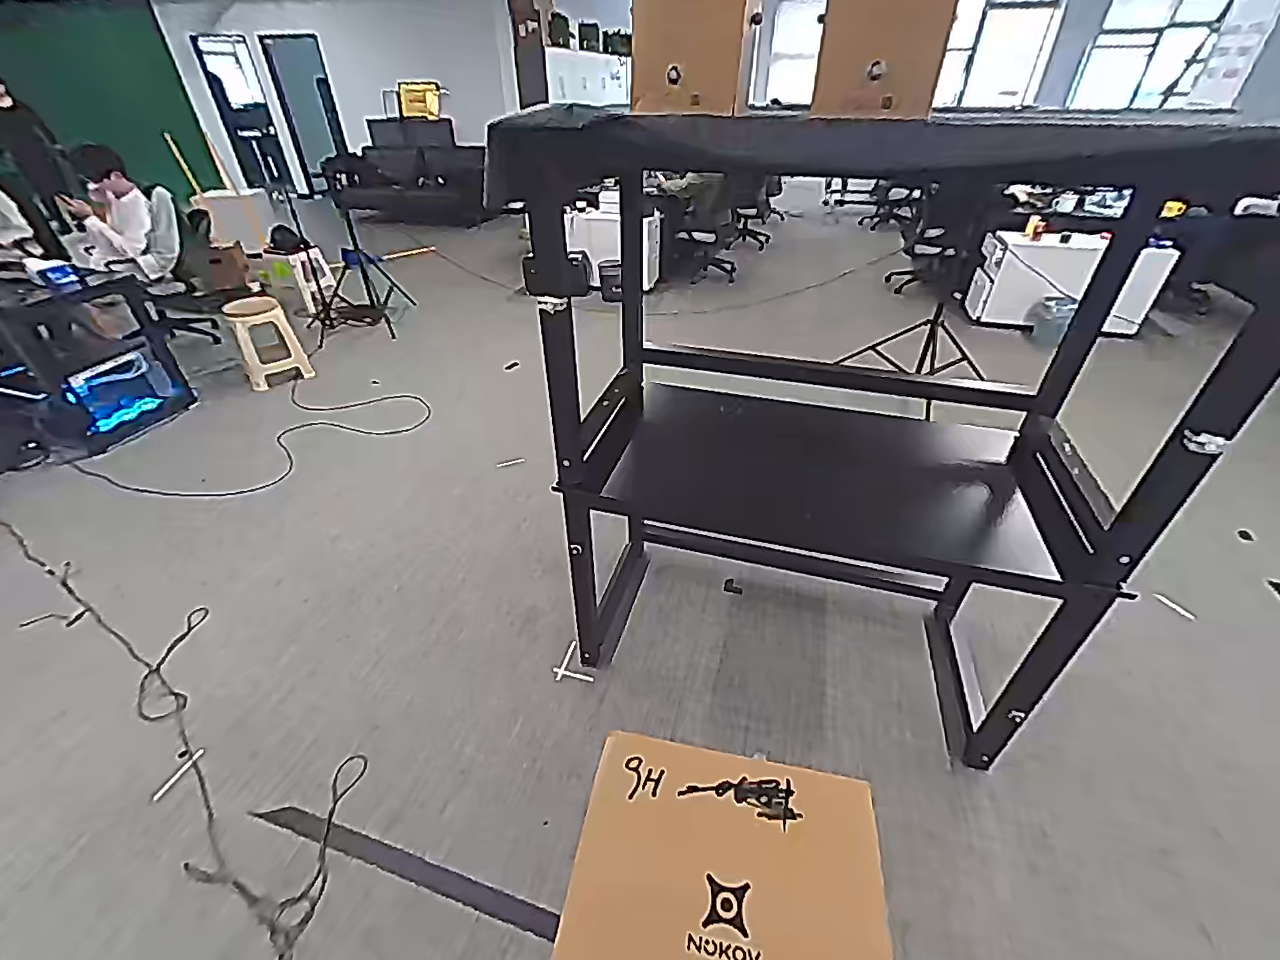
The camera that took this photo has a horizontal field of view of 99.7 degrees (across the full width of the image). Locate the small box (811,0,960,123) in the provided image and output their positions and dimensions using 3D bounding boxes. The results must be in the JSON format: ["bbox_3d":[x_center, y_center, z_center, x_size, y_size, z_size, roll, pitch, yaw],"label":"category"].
[{"bbox_3d":[0.352,-0.631,0.794,0.168,0.176,0.179,10,36,14],"label":"small box"}]

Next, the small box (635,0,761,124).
[{"bbox_3d":[0.090,-0.675,0.859,0.168,0.176,0.179,10,36,12],"label":"small box"}]

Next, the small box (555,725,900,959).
[{"bbox_3d":[0.044,0.283,0.321,0.168,0.176,0.179,8,41,8],"label":"small box"}]
